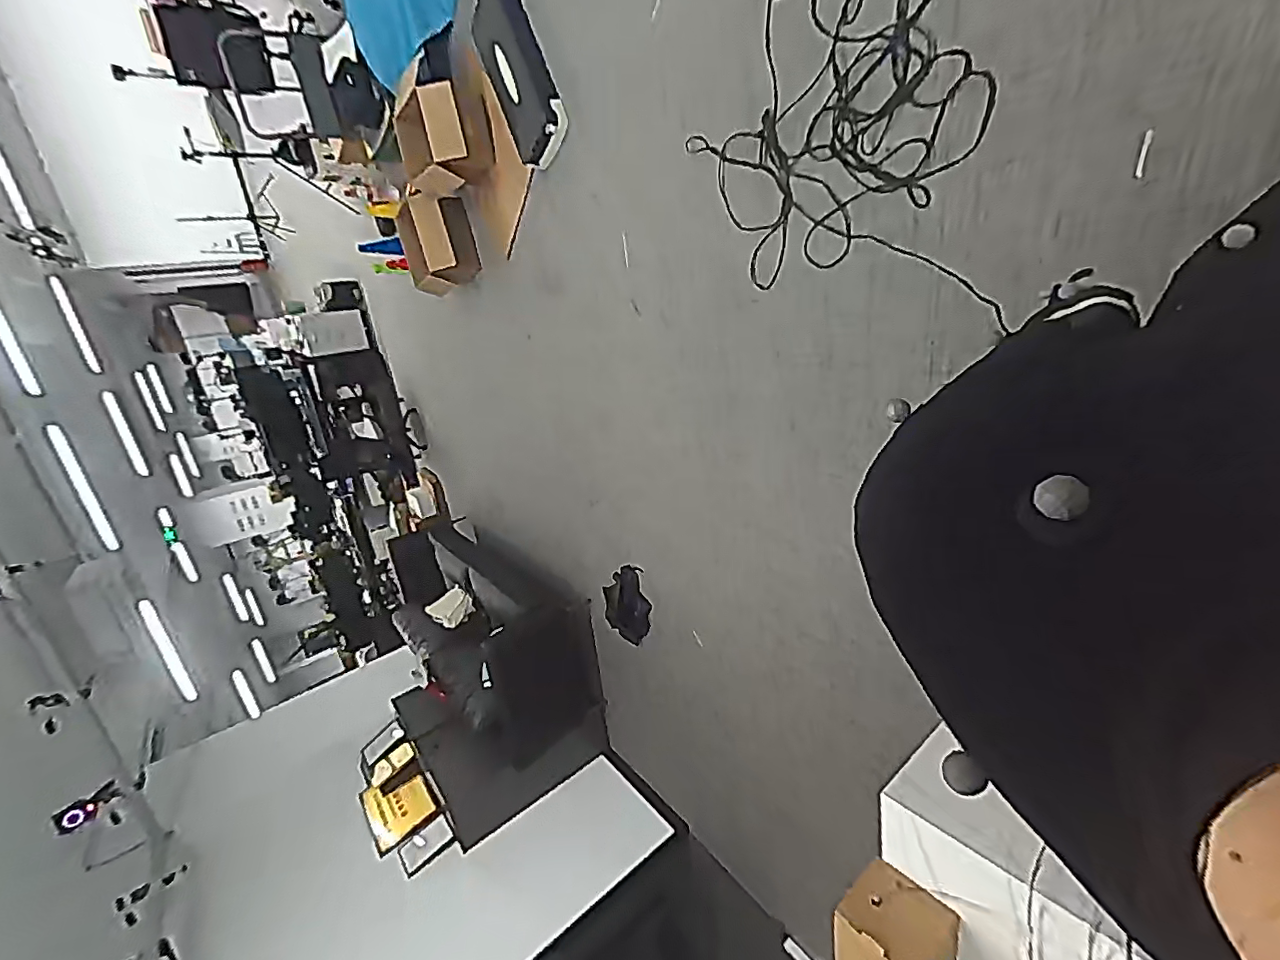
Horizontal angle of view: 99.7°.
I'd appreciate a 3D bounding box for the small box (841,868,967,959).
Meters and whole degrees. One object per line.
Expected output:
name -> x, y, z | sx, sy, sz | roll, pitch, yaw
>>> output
small box -> 0.515, 0.922, 1.056 | 0.168, 0.176, 0.179 | 14, 120, 52
